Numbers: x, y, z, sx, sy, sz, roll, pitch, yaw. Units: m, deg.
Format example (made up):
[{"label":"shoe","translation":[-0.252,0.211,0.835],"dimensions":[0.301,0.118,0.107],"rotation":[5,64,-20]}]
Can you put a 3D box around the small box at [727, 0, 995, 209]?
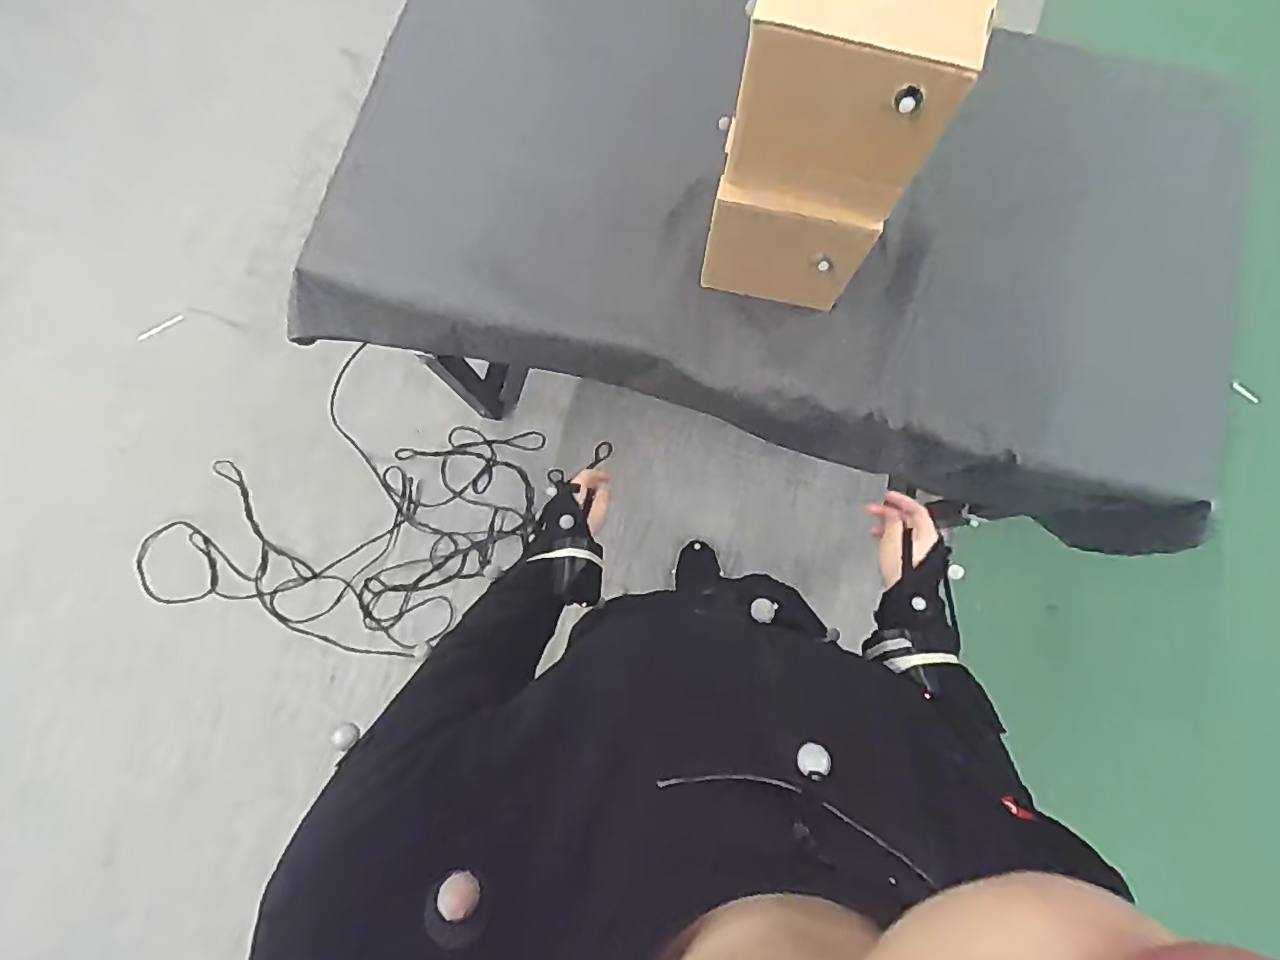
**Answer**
[{"label":"small box","translation":[0.187,-0.381,0.490],"dimensions":[0.179,0.176,0.168],"rotation":[15,80,3]}]
